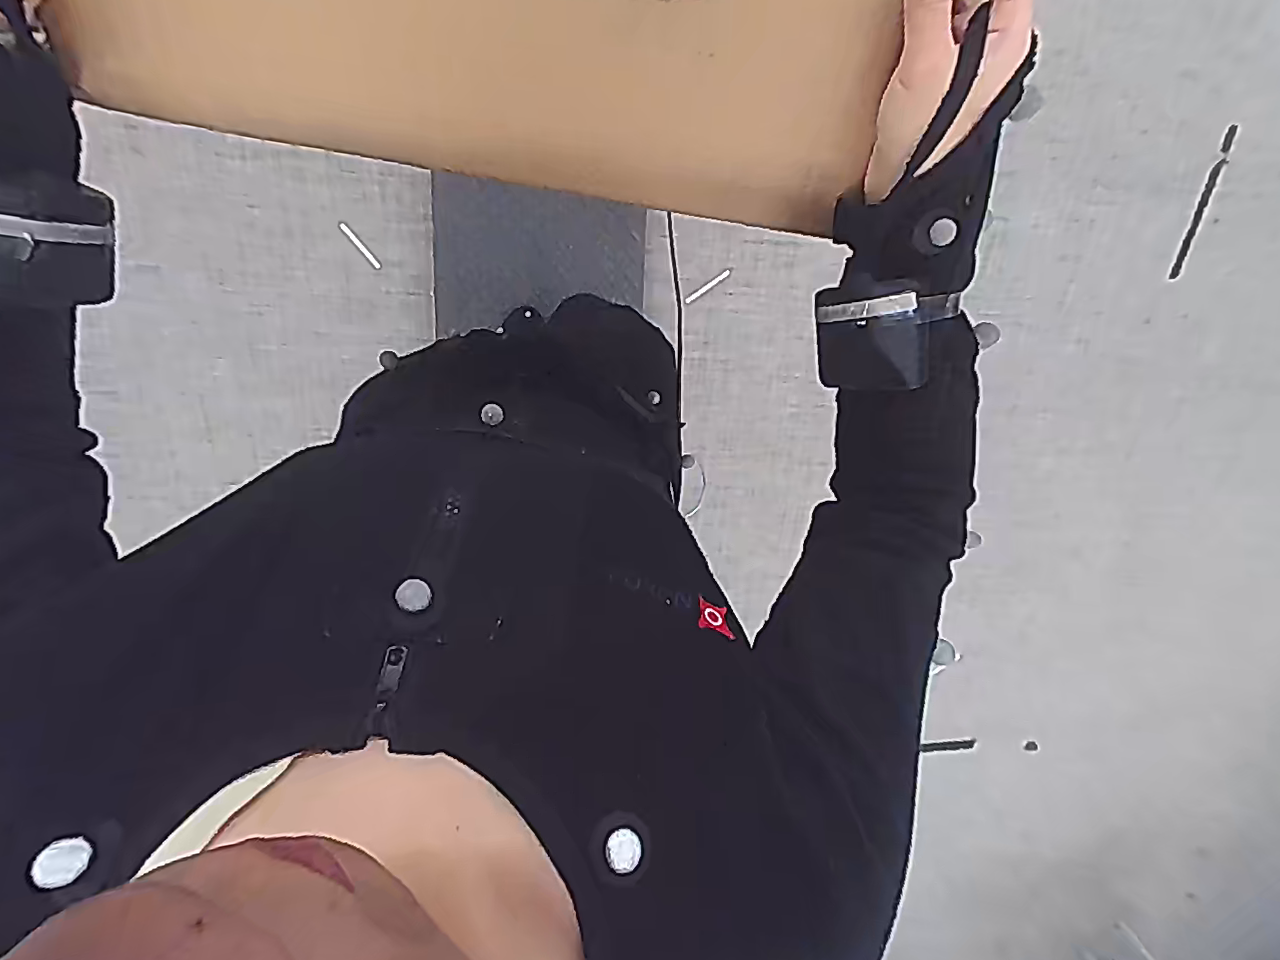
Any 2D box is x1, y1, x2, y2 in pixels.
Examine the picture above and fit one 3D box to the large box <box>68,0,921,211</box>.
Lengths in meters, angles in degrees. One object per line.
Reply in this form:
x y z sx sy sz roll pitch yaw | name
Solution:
-0.059 -0.388 0.320 0.408 0.320 0.320 4 129 -11 | large box
